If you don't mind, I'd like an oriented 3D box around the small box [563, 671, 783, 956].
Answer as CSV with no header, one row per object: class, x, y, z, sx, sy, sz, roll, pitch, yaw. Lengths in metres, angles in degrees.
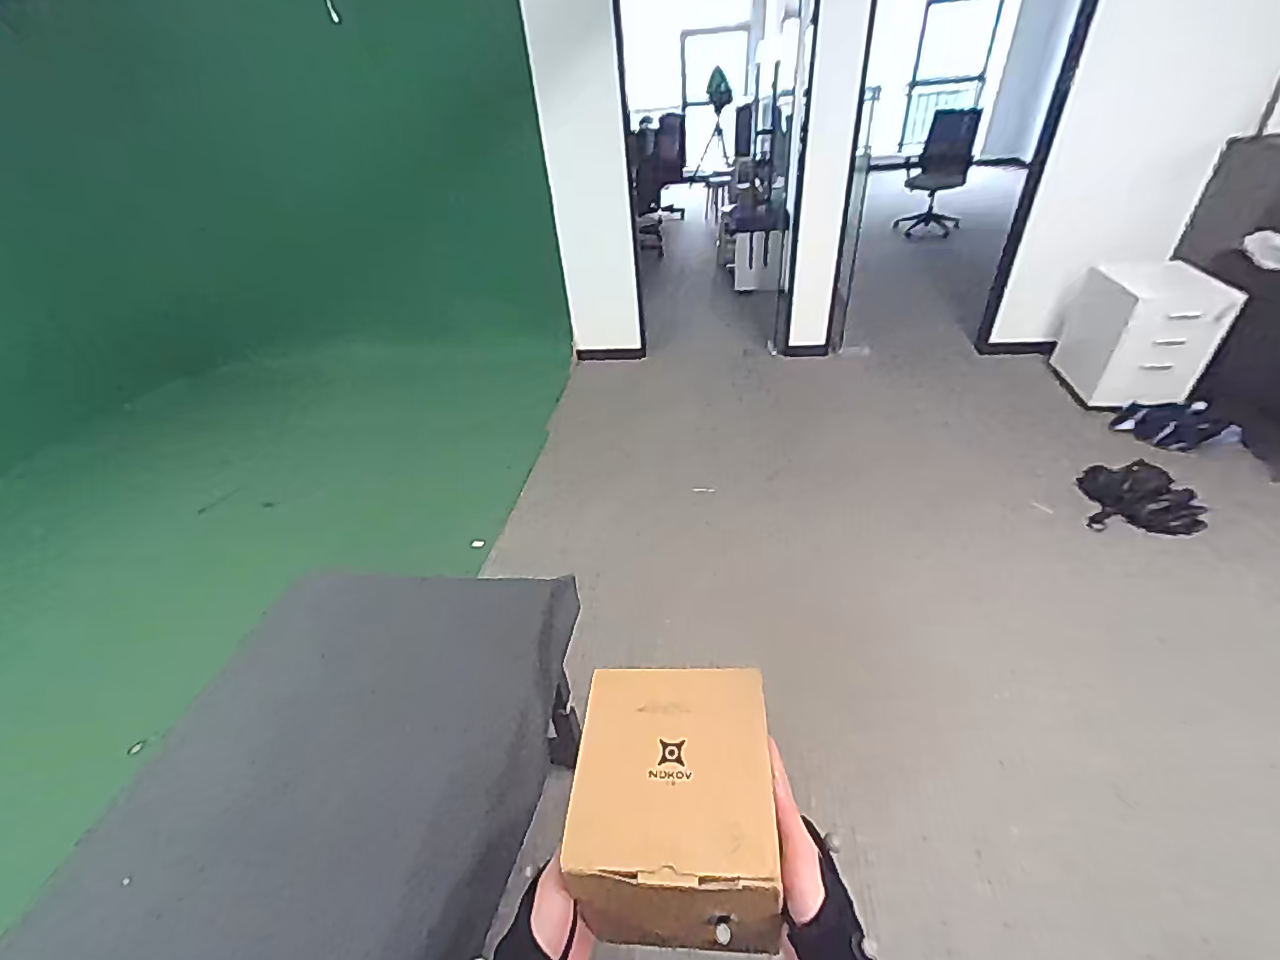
small box,0.040,0.303,0.502,0.168,0.176,0.179,-2,34,8
